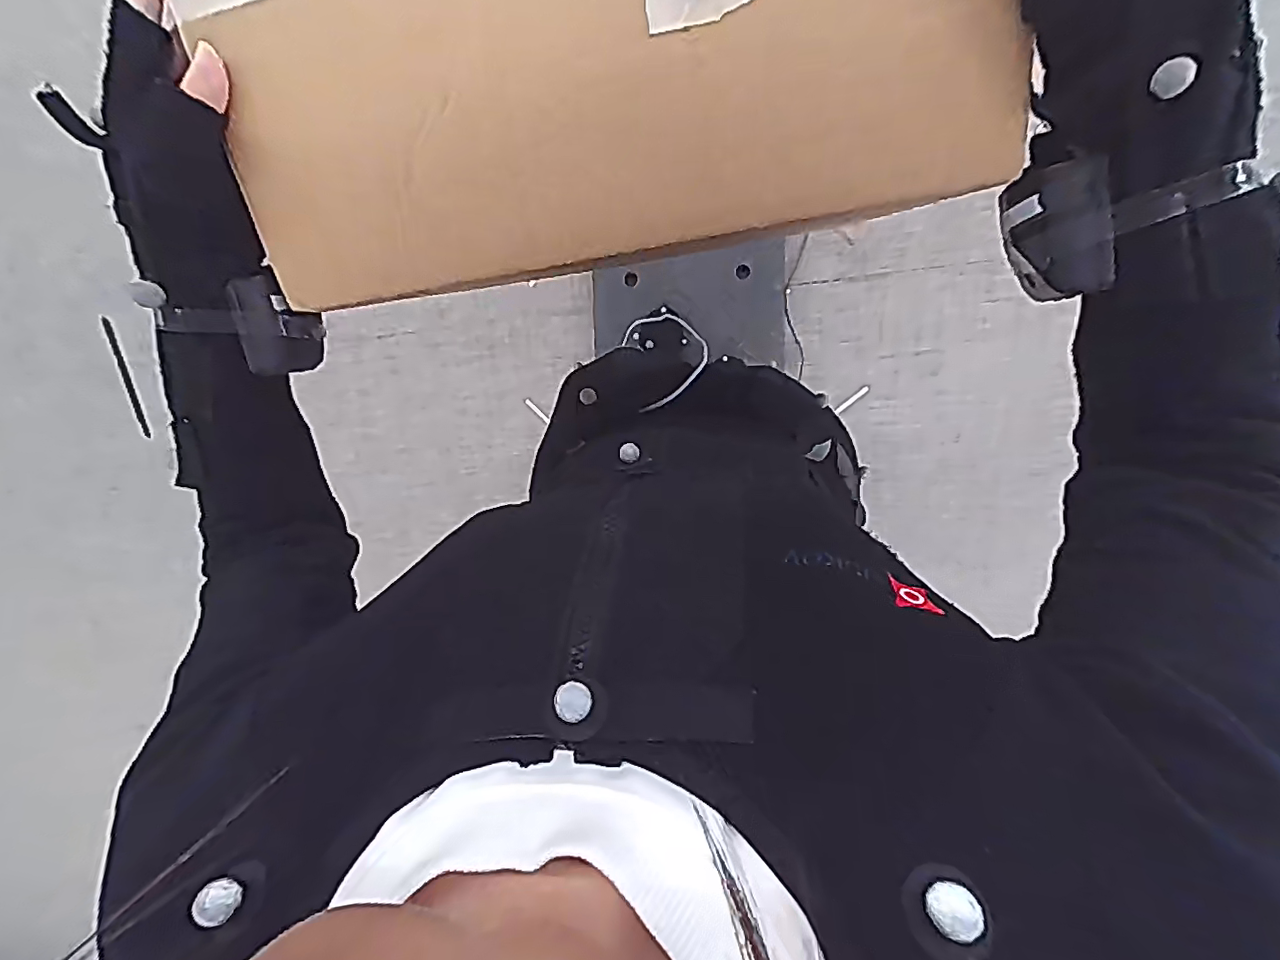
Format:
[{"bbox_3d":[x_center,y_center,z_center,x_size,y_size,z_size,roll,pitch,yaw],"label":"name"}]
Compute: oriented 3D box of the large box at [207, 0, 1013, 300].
[{"bbox_3d":[-0.020,-0.332,0.389,0.408,0.320,0.320,-6,112,11],"label":"large box"}]
